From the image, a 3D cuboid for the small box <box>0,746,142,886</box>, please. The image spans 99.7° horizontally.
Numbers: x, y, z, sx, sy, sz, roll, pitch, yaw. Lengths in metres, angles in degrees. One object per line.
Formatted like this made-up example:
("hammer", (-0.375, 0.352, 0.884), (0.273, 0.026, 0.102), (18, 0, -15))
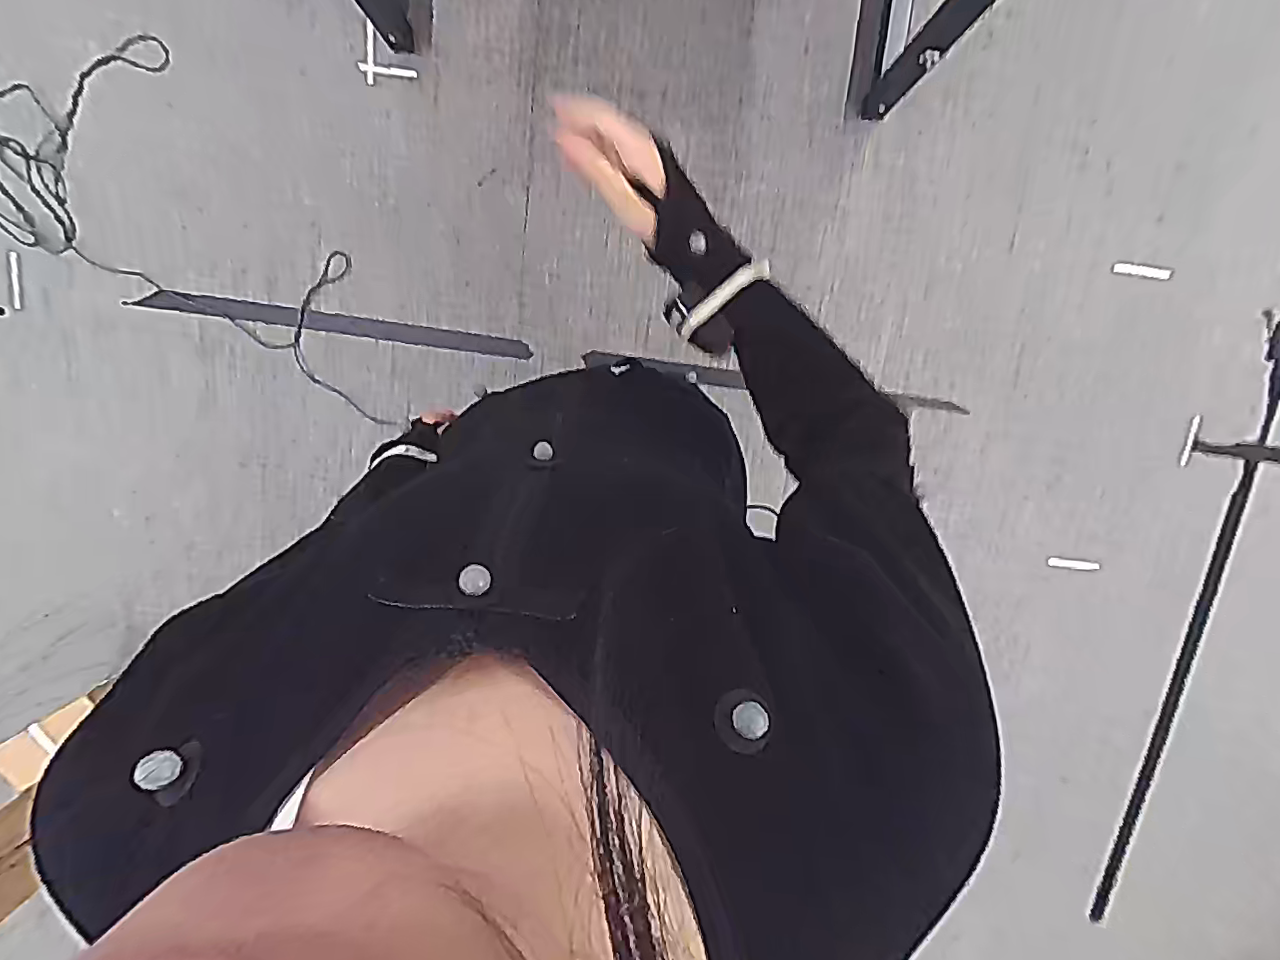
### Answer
("small box", (-1.308, 0.751, 1.225), (0.168, 0.176, 0.179), (-33, 98, 4))
